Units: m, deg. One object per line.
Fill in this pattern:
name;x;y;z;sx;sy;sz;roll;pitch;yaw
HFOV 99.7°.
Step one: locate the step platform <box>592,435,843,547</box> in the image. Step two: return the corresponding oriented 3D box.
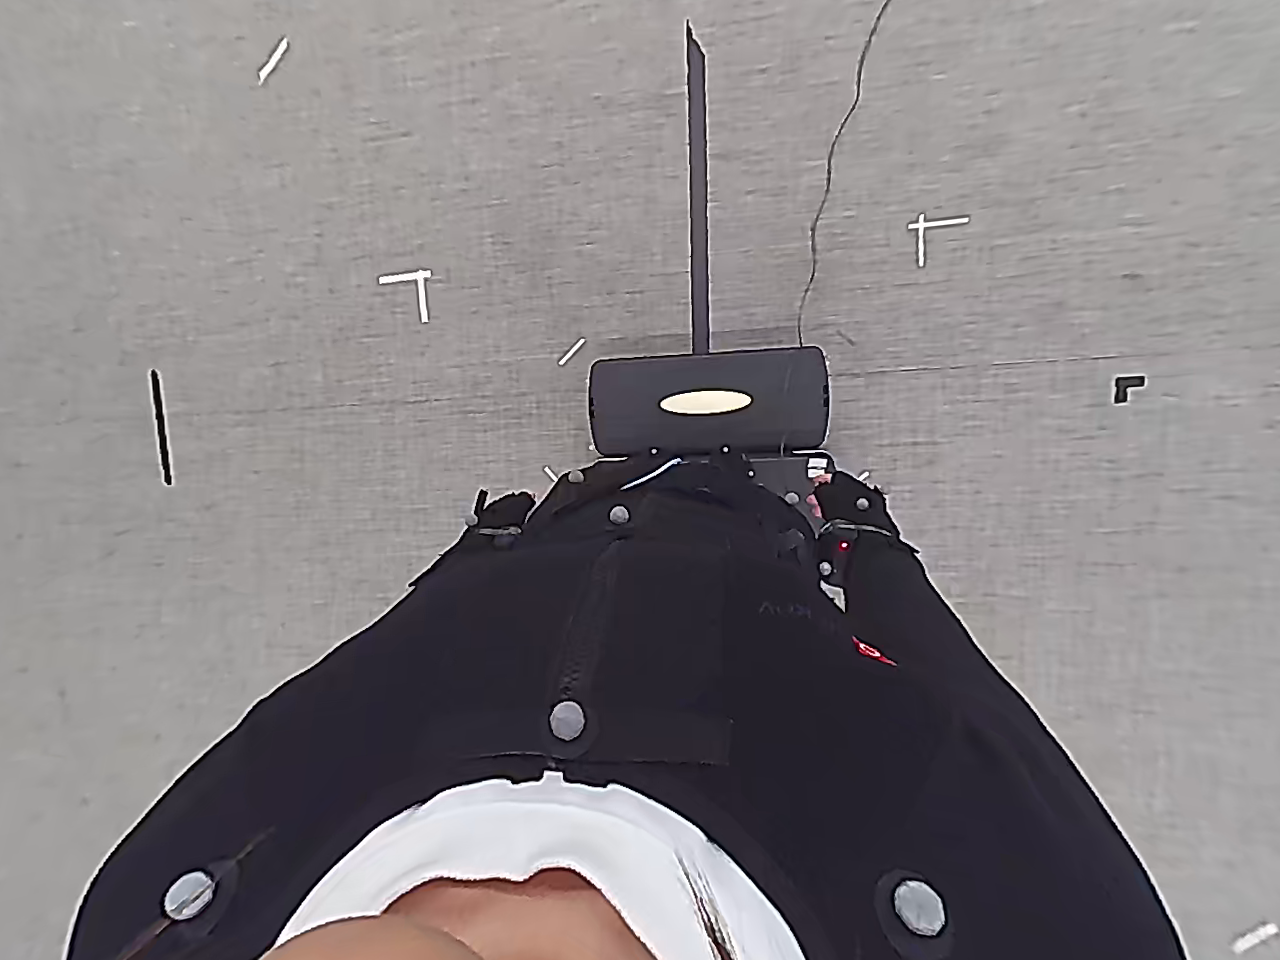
step platform;0.207;0.034;1.518;0.684;0.204;0.286;-3;94;9
